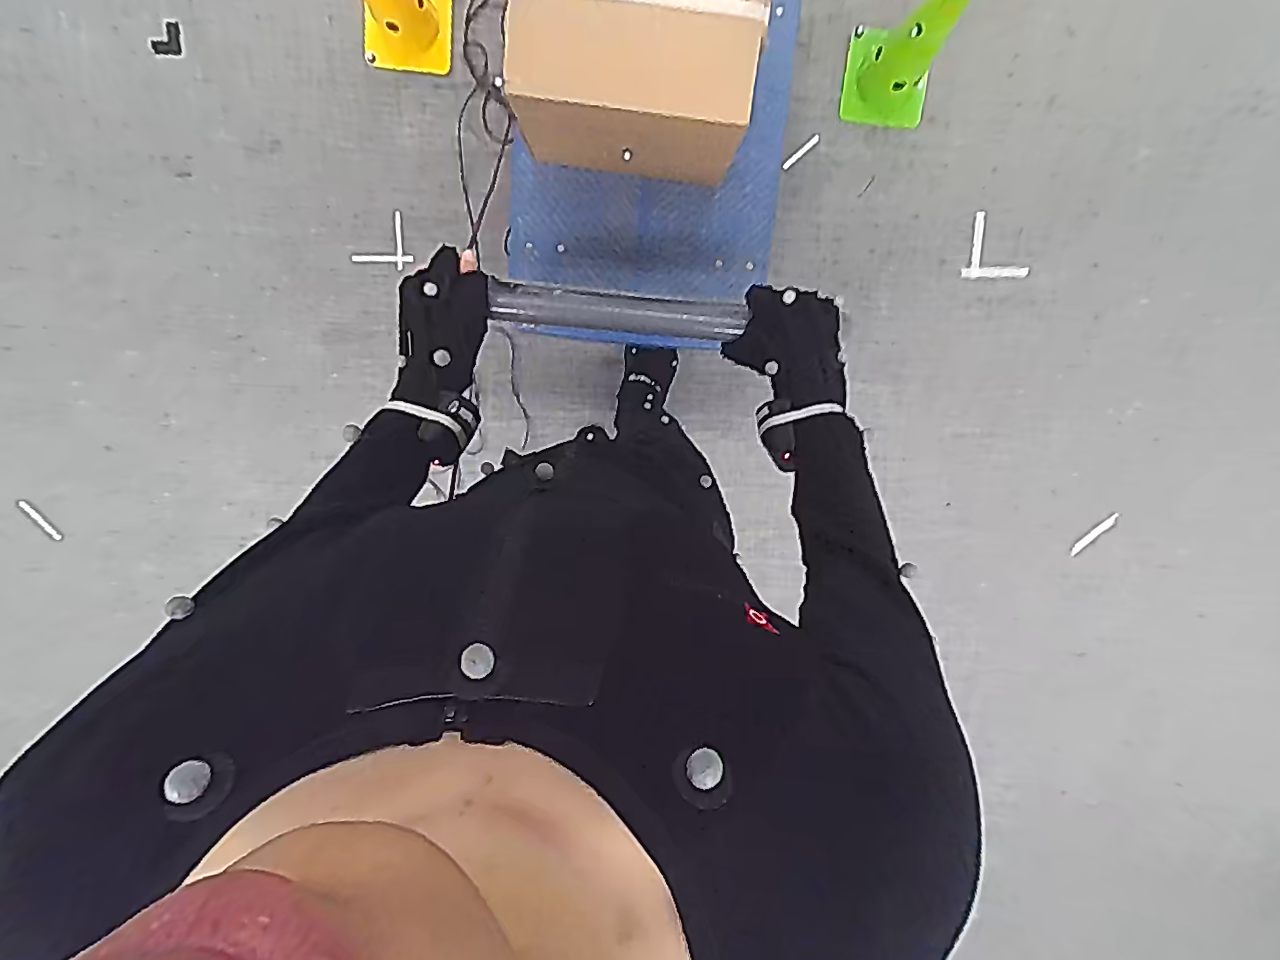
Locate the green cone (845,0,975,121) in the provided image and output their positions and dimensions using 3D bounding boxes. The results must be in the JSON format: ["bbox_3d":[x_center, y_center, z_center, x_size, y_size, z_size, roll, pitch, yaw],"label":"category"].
[{"bbox_3d":[0.600,-0.940,1.119,0.202,0.368,0.200,5,101,-3],"label":"green cone"}]

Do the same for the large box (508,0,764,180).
[{"bbox_3d":[-0.001,-0.782,0.997,0.408,0.320,0.320,6,102,-1],"label":"large box"}]
